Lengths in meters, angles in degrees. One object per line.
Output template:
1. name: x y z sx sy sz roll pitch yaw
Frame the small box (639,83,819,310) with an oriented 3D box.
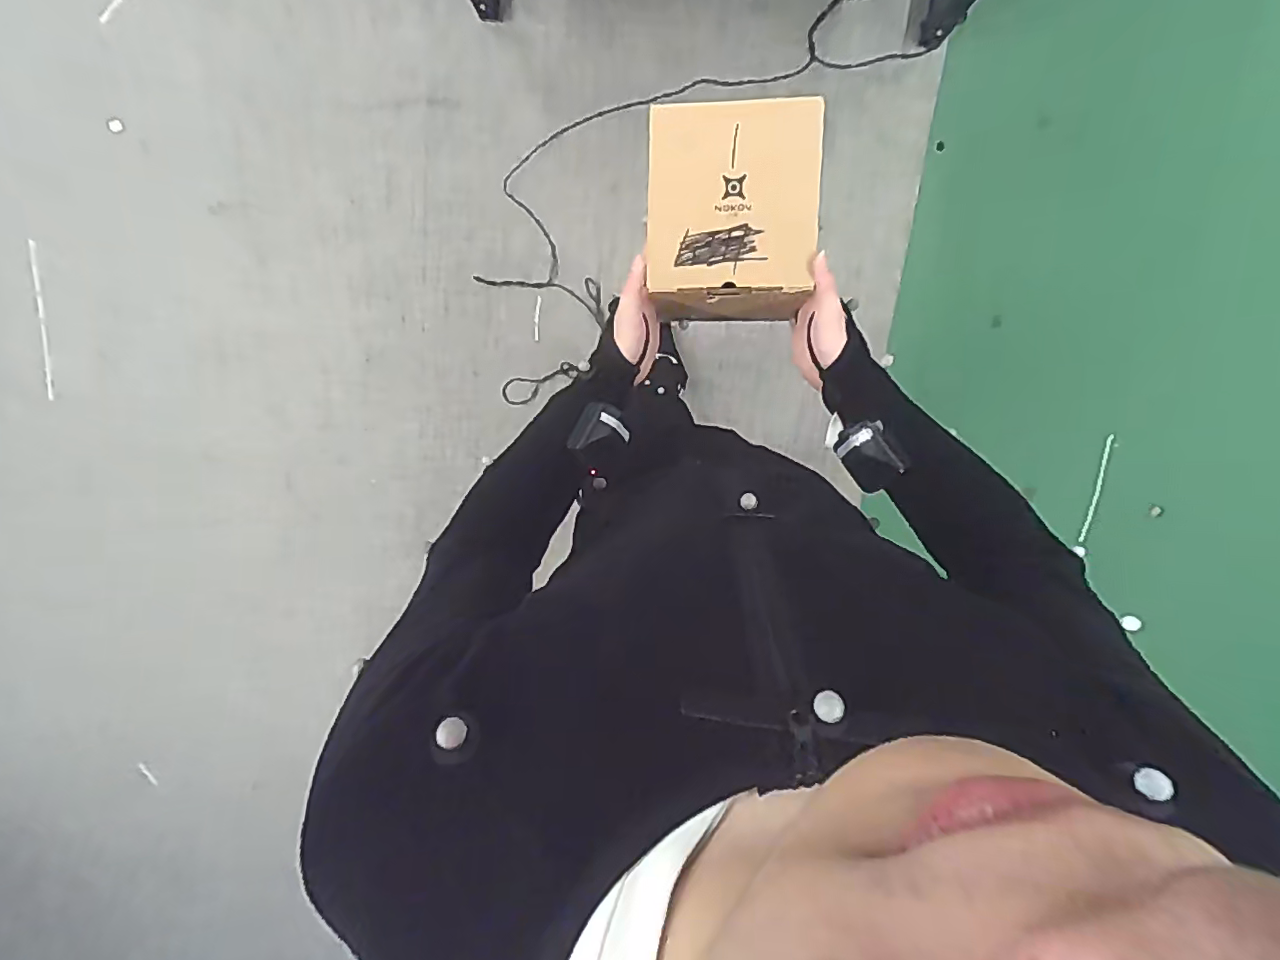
1. small box: 0.093 -0.289 0.593 0.168 0.176 0.179 2 96 7
